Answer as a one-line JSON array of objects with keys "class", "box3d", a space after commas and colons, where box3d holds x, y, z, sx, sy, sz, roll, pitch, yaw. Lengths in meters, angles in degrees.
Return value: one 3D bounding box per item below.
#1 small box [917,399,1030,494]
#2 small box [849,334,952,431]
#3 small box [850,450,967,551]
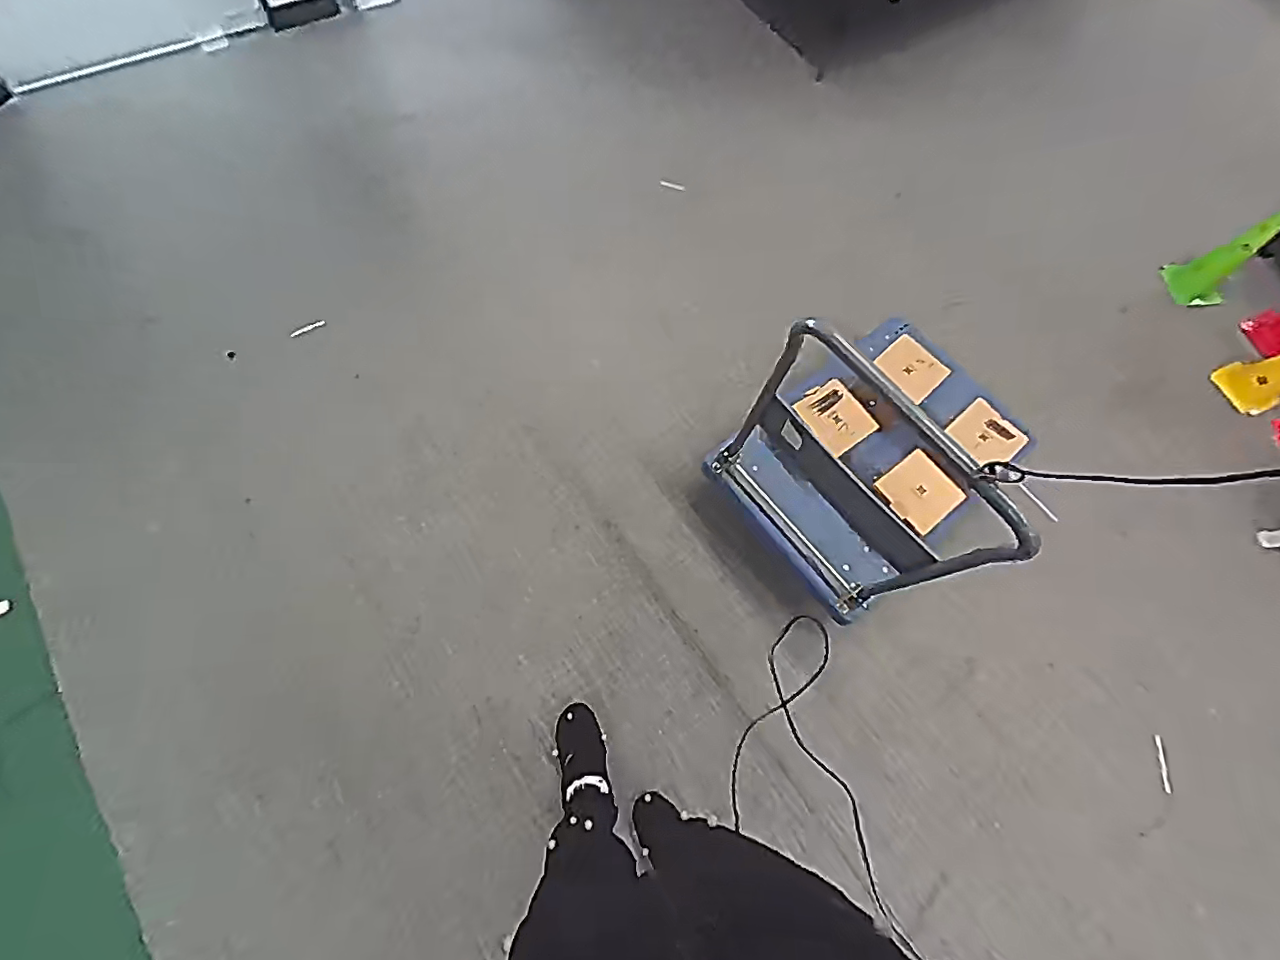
[{"class": "small box", "box3d": [0.891, -0.082, 1.469, 0.179, 0.176, 0.168, -38, 75, -17]}, {"class": "small box", "box3d": [0.723, -0.268, 1.528, 0.179, 0.176, 0.168, -39, 77, -18]}, {"class": "small box", "box3d": [0.681, 0.058, 1.394, 0.179, 0.176, 0.168, -35, 75, -17]}]
